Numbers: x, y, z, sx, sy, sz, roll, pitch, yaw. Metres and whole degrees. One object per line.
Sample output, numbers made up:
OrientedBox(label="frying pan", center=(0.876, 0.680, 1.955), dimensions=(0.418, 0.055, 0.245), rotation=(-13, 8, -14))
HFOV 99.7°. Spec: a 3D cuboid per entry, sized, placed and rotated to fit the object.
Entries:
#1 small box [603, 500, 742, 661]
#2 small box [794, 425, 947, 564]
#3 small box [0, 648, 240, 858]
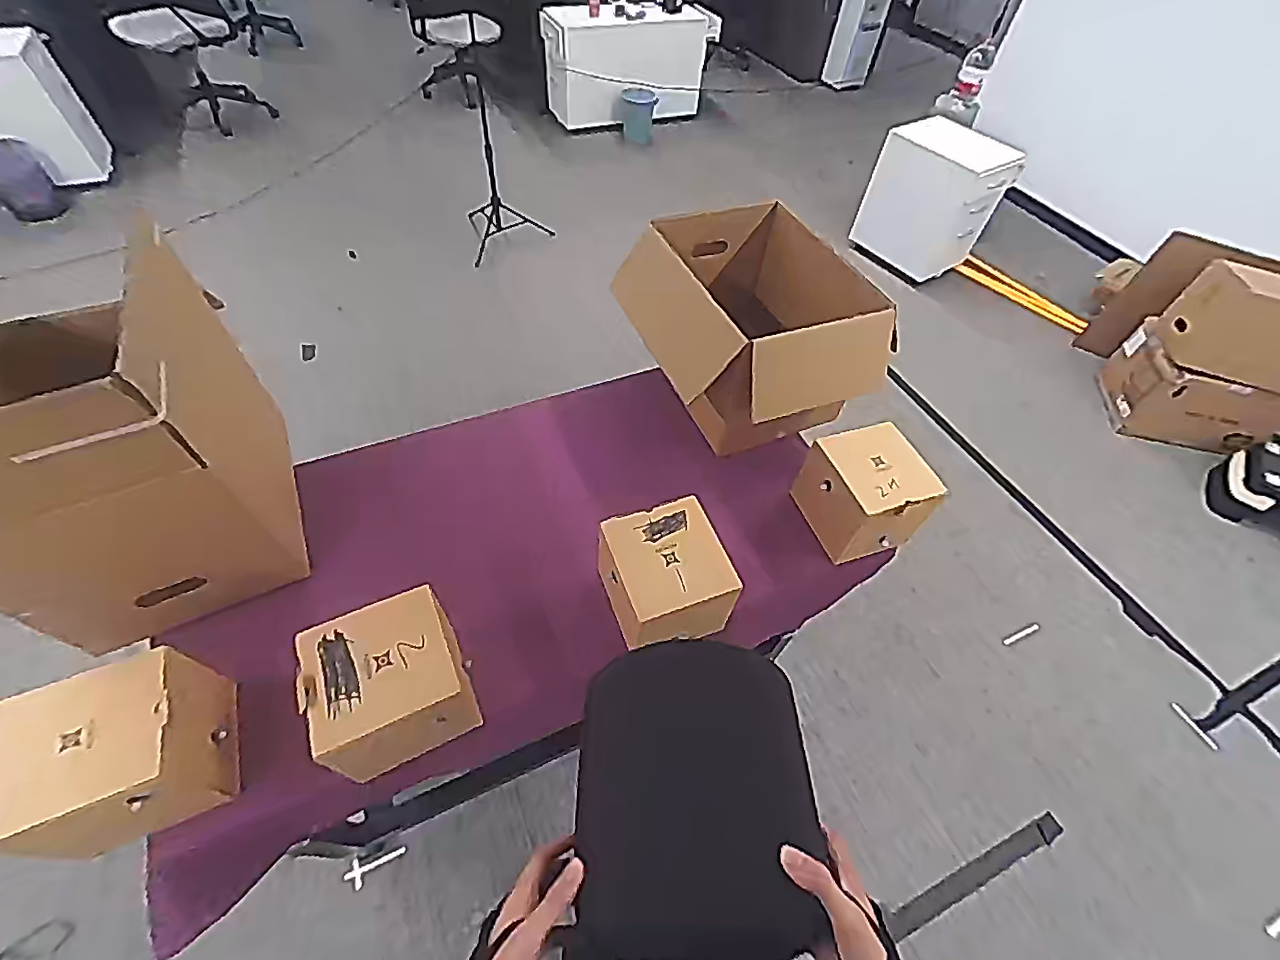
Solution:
OrientedBox(label="small box", center=(0.040, 0.163, 0.876), dimensions=(0.168, 0.176, 0.179), rotation=(-15, 56, -15))
OrientedBox(label="small box", center=(0.412, 0.029, 1.003), dimensions=(0.168, 0.176, 0.179), rotation=(-13, 55, -13))
OrientedBox(label="small box", center=(-0.647, 0.347, 0.683), dimensions=(0.179, 0.176, 0.168), rotation=(-18, 56, -19))
